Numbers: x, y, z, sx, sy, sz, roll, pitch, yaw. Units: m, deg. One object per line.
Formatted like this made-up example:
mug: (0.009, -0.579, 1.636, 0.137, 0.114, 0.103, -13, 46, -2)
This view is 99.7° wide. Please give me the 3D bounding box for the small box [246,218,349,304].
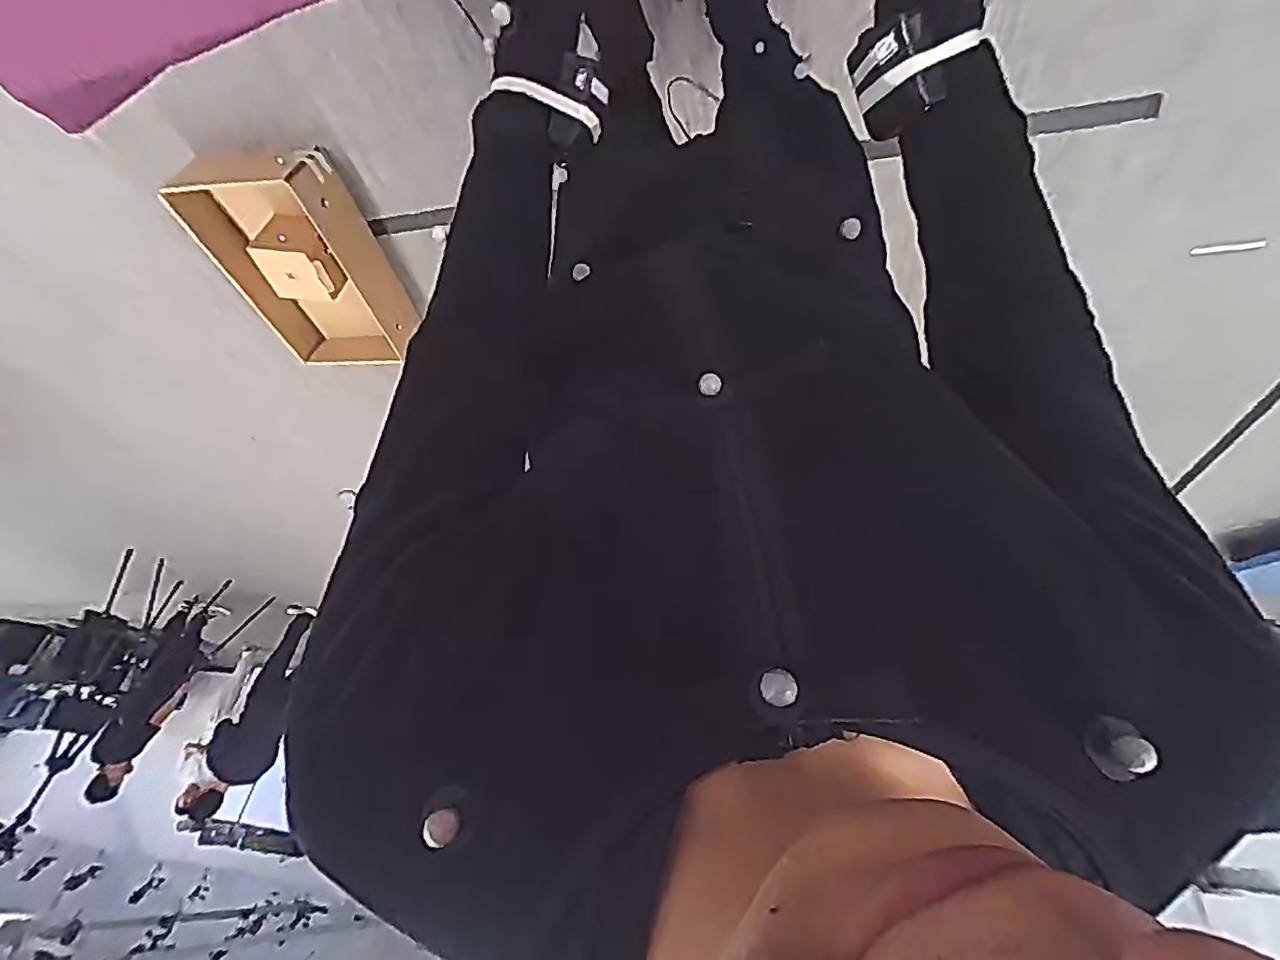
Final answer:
small box: (-0.978, -0.638, 1.570, 0.179, 0.176, 0.168, 6, 147, 3)
